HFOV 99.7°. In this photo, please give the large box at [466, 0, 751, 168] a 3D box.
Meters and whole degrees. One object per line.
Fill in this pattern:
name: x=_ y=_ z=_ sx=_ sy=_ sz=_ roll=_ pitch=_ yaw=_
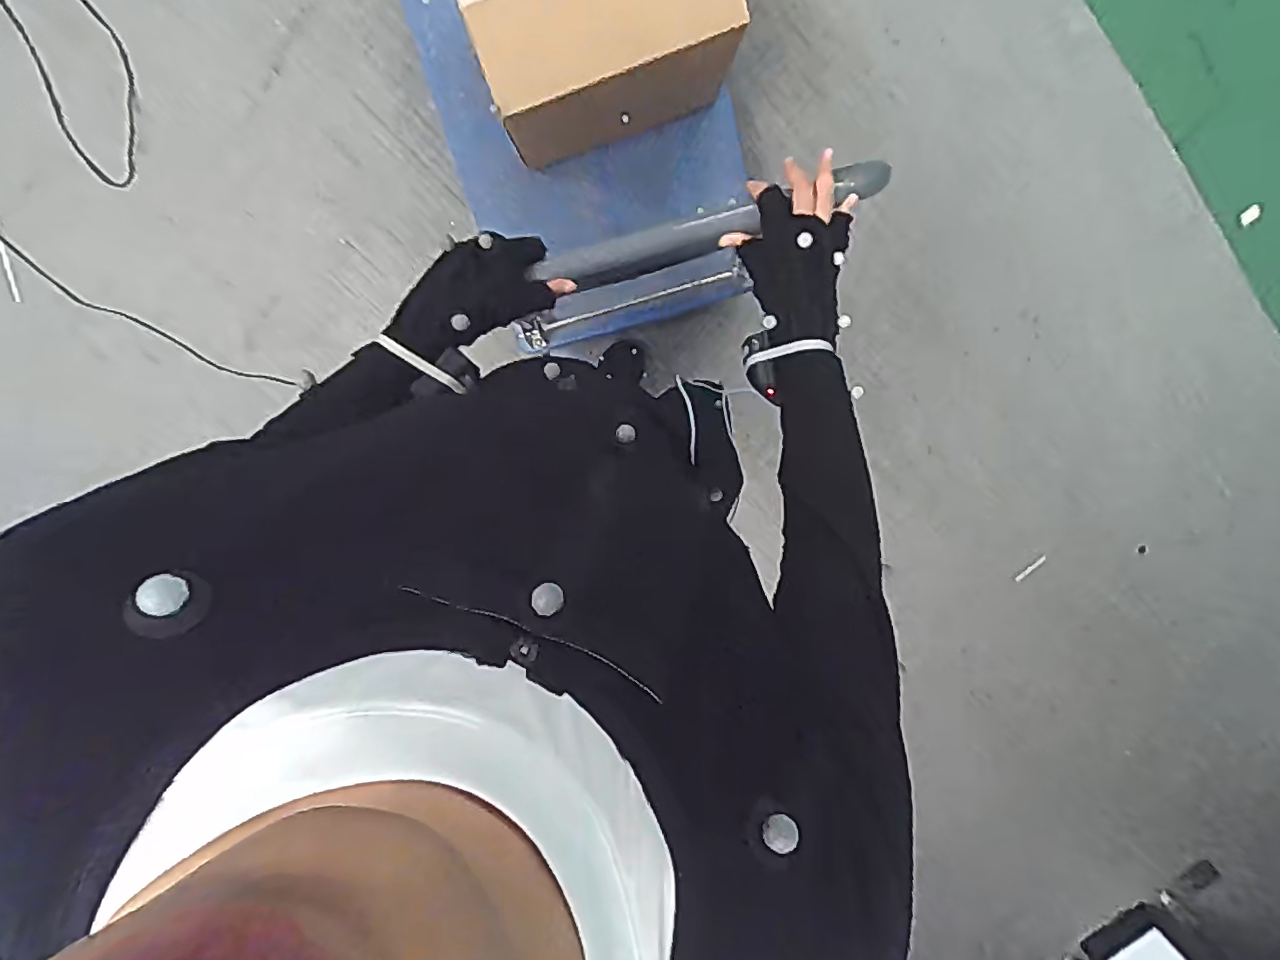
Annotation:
large box: x=-0.068 y=-0.811 z=0.938 sx=0.408 sy=0.320 sz=0.320 roll=-20 pitch=105 yaw=5
